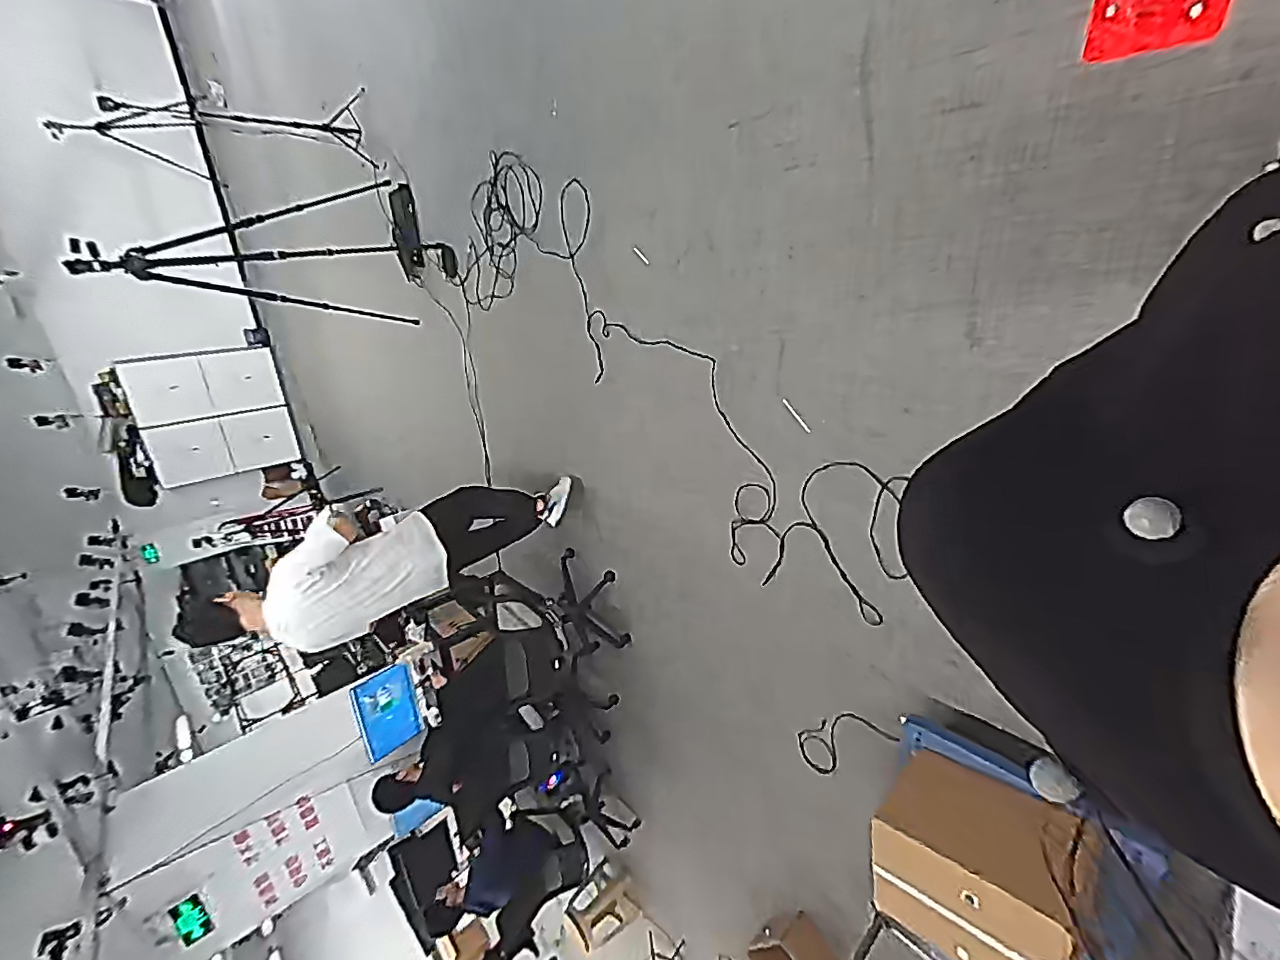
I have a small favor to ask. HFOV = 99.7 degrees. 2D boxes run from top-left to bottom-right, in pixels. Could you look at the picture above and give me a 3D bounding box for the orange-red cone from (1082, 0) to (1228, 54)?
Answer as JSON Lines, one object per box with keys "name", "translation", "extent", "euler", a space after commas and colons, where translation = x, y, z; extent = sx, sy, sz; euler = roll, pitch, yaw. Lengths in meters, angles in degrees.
{"name": "orange-red cone", "translation": [0.800, -0.839, 0.844], "extent": [0.198, 0.360, 0.199], "euler": [22, 121, 42]}
